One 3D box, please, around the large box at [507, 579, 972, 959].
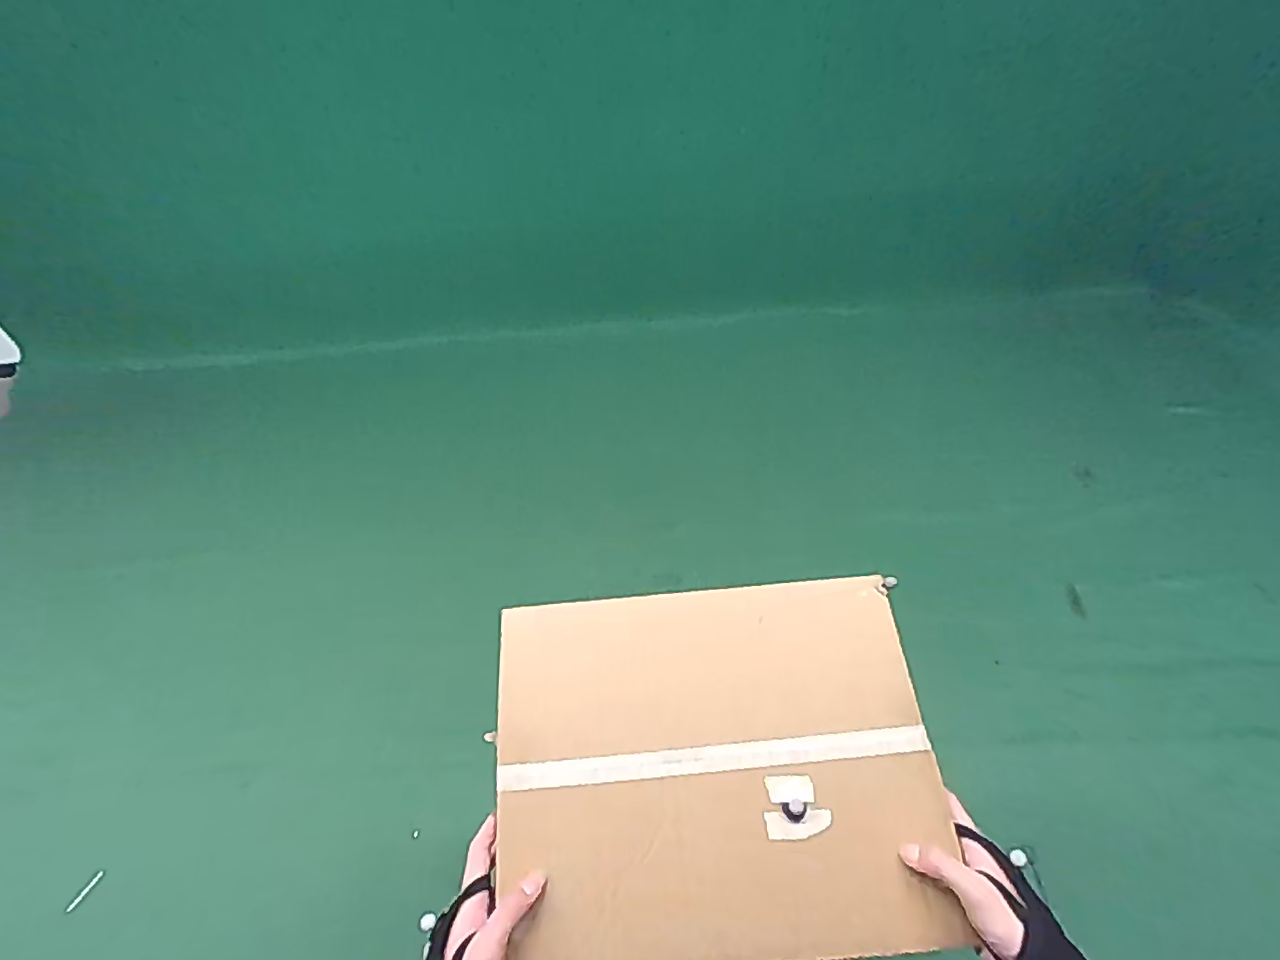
[{"bbox_3d":[0.074,0.329,0.649,0.408,0.320,0.320,-6,66,-1],"label":"large box"}]
